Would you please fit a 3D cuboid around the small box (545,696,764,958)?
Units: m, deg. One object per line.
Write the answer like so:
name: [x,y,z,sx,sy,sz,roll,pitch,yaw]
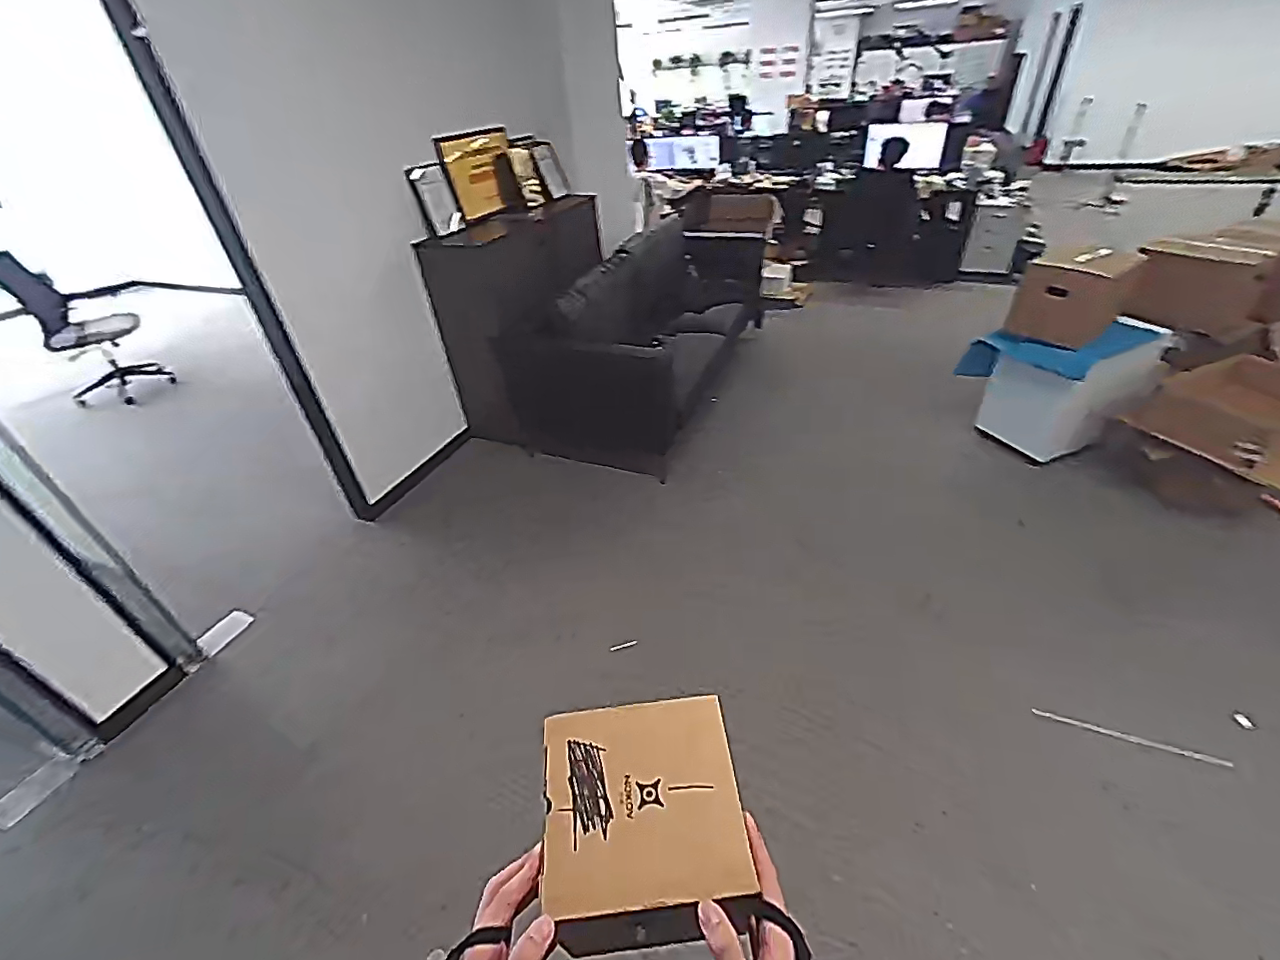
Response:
small box: [0.012,0.338,0.528,0.179,0.176,0.168,-6,41,-1]
